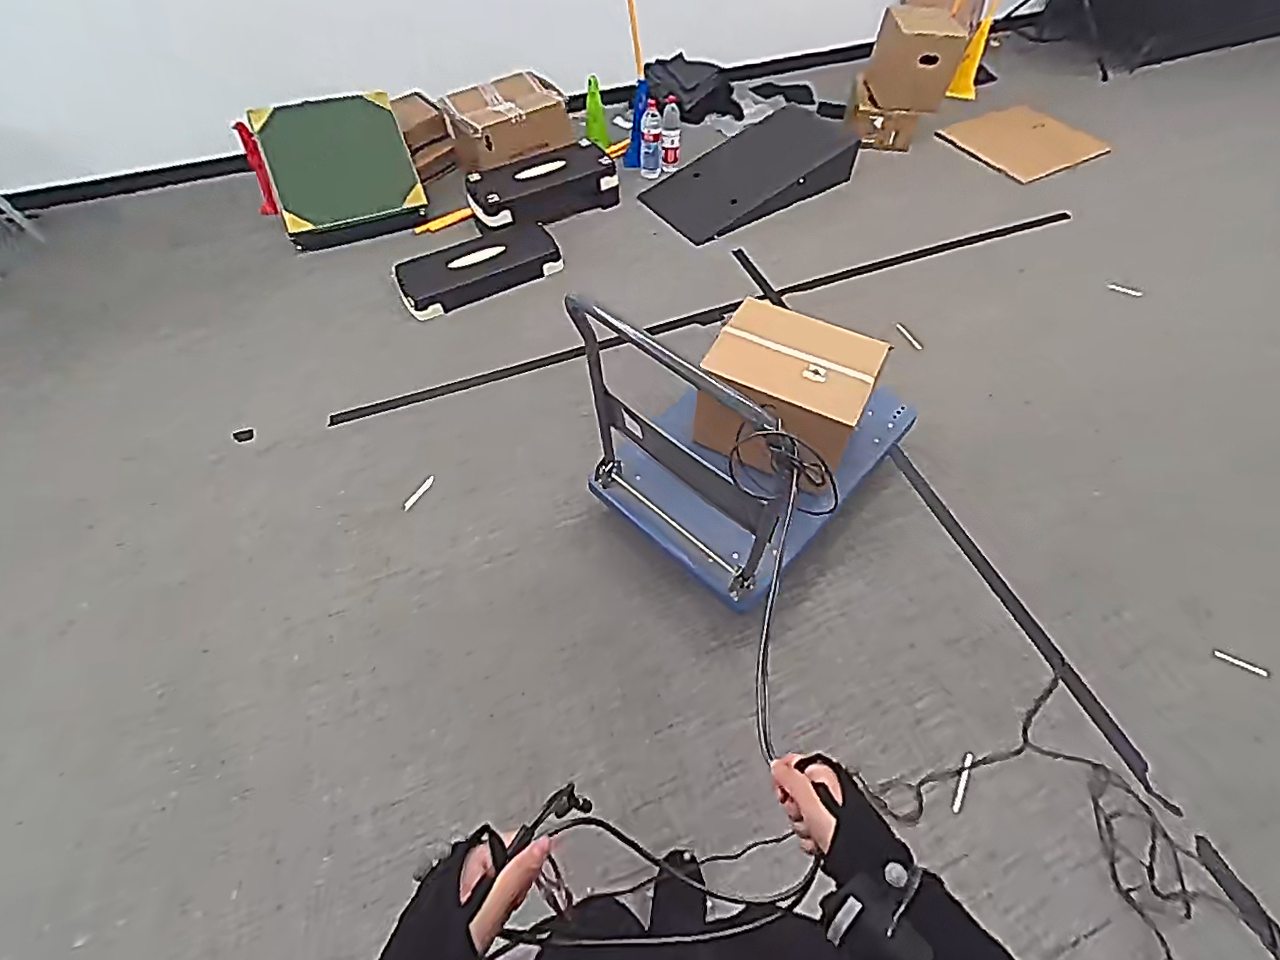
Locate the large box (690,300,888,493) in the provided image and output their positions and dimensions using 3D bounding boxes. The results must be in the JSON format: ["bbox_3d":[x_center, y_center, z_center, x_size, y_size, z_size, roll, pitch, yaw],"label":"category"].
[{"bbox_3d":[0.389,-0.227,1.485,0.408,0.320,0.320,25,62,15],"label":"large box"}]
